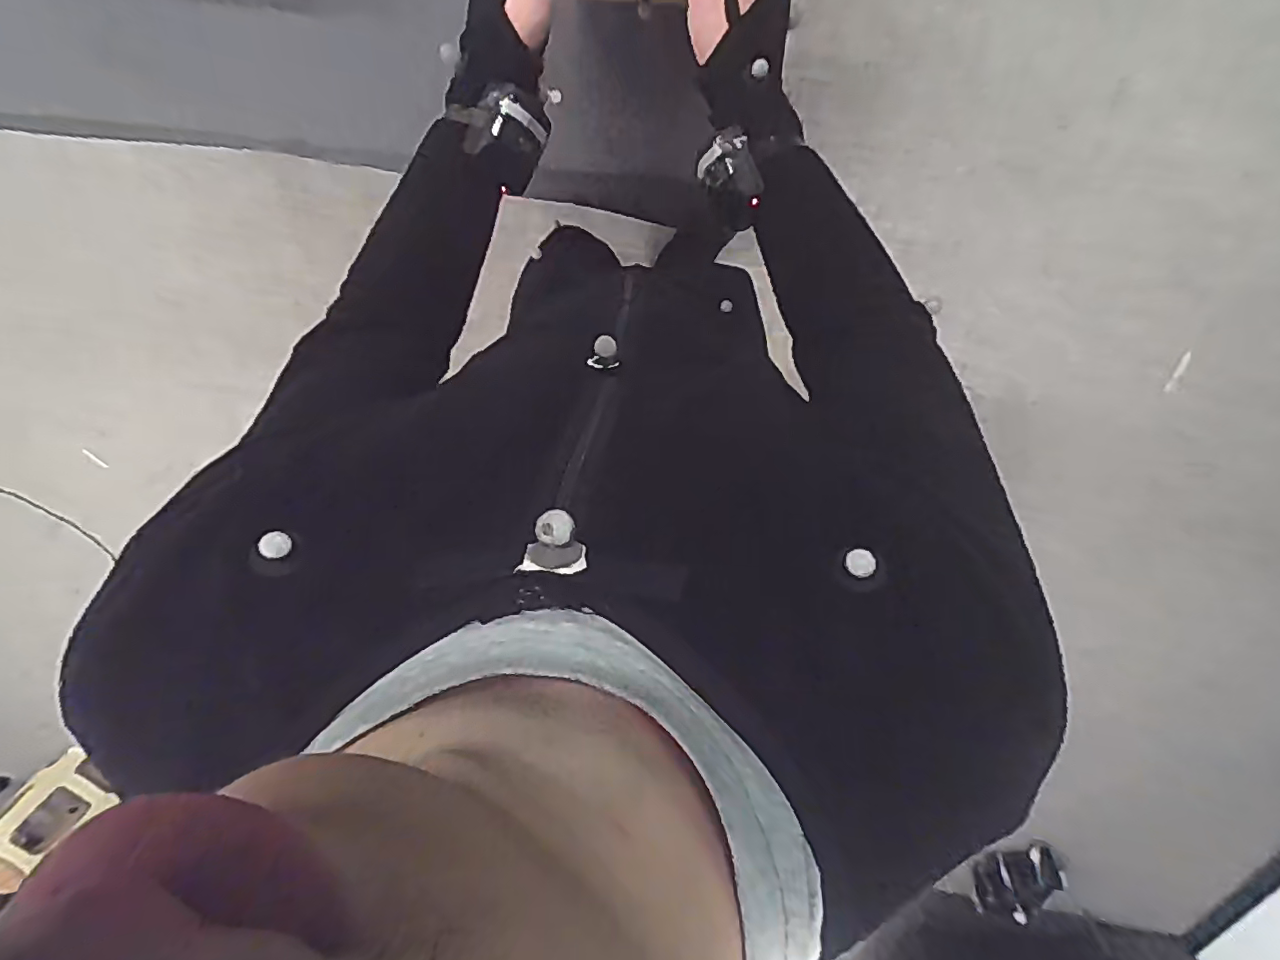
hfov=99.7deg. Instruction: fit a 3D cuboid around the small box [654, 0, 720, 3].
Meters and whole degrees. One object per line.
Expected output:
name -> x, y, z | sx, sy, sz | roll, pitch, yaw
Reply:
small box -> 0.015, -0.502, 0.427 | 0.179, 0.176, 0.168 | 4, 124, -1
